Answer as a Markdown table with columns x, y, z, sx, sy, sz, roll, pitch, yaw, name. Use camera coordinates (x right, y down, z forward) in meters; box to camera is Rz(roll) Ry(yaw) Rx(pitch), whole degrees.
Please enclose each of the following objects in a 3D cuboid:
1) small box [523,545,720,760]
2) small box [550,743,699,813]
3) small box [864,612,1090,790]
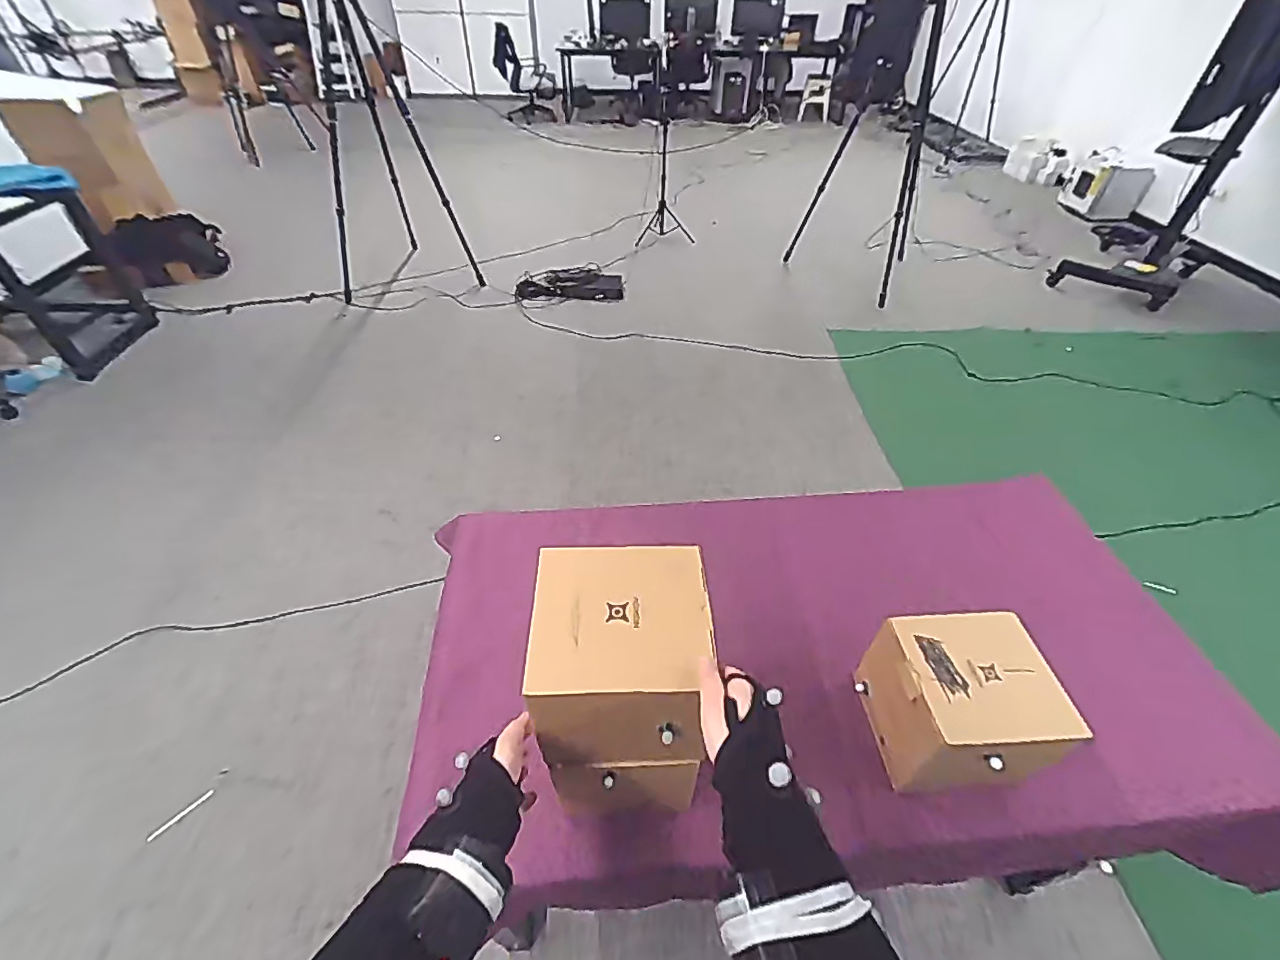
| x | y | z | sx | sy | sz | roll | pitch | yaw | name |
| --- | --- | --- | --- | --- | --- | --- | --- | --- | --- |
| -0.017 | 0.187 | 0.585 | 0.179 | 0.176 | 0.168 | -1 | 44 | -1 | small box |
| -0.019 | 0.305 | 0.698 | 0.168 | 0.176 | 0.179 | -2 | 43 | -1 | small box |
| 0.417 | 0.293 | 0.714 | 0.179 | 0.176 | 0.168 | -2 | 44 | -3 | small box |
